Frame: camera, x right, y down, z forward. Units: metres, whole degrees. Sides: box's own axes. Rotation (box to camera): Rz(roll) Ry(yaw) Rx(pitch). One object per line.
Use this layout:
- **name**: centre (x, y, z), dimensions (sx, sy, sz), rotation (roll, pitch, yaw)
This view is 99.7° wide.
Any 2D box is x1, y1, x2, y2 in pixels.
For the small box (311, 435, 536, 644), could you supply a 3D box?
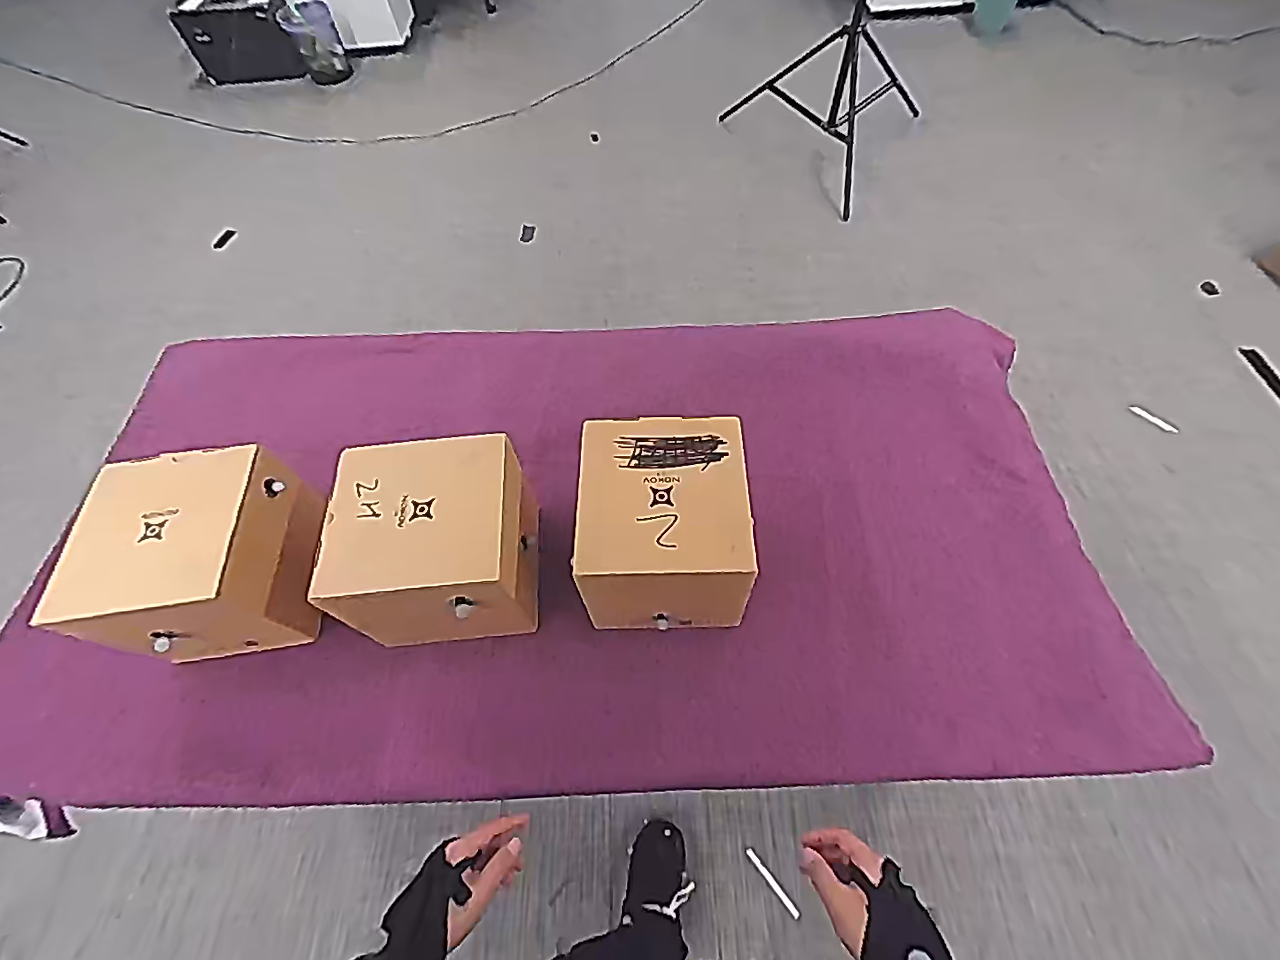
- **small box**: centre (-0.214, 0.071, 0.594), dimensions (0.179, 0.176, 0.168), rotation (-6, 58, -1)

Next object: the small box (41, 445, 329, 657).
- **small box**: centre (-0.469, 0.088, 0.601), dimensions (0.168, 0.176, 0.179), rotation (-9, 58, -2)
